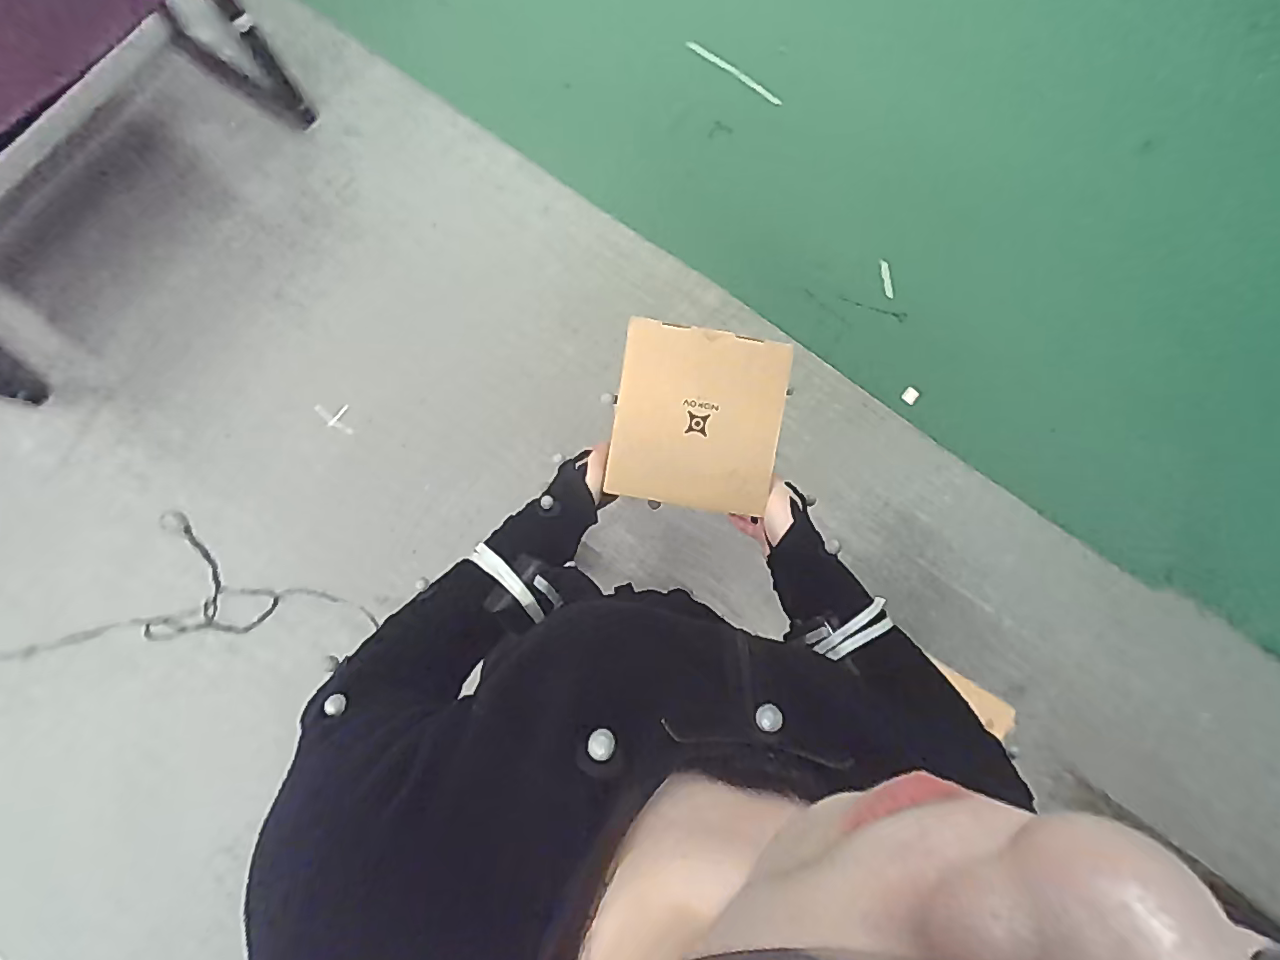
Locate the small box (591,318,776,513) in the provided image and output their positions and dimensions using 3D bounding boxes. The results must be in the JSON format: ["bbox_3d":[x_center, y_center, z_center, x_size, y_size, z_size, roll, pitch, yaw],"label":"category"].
[{"bbox_3d":[0.041,-0.069,0.623,0.168,0.176,0.179,8,93,-4],"label":"small box"}]
